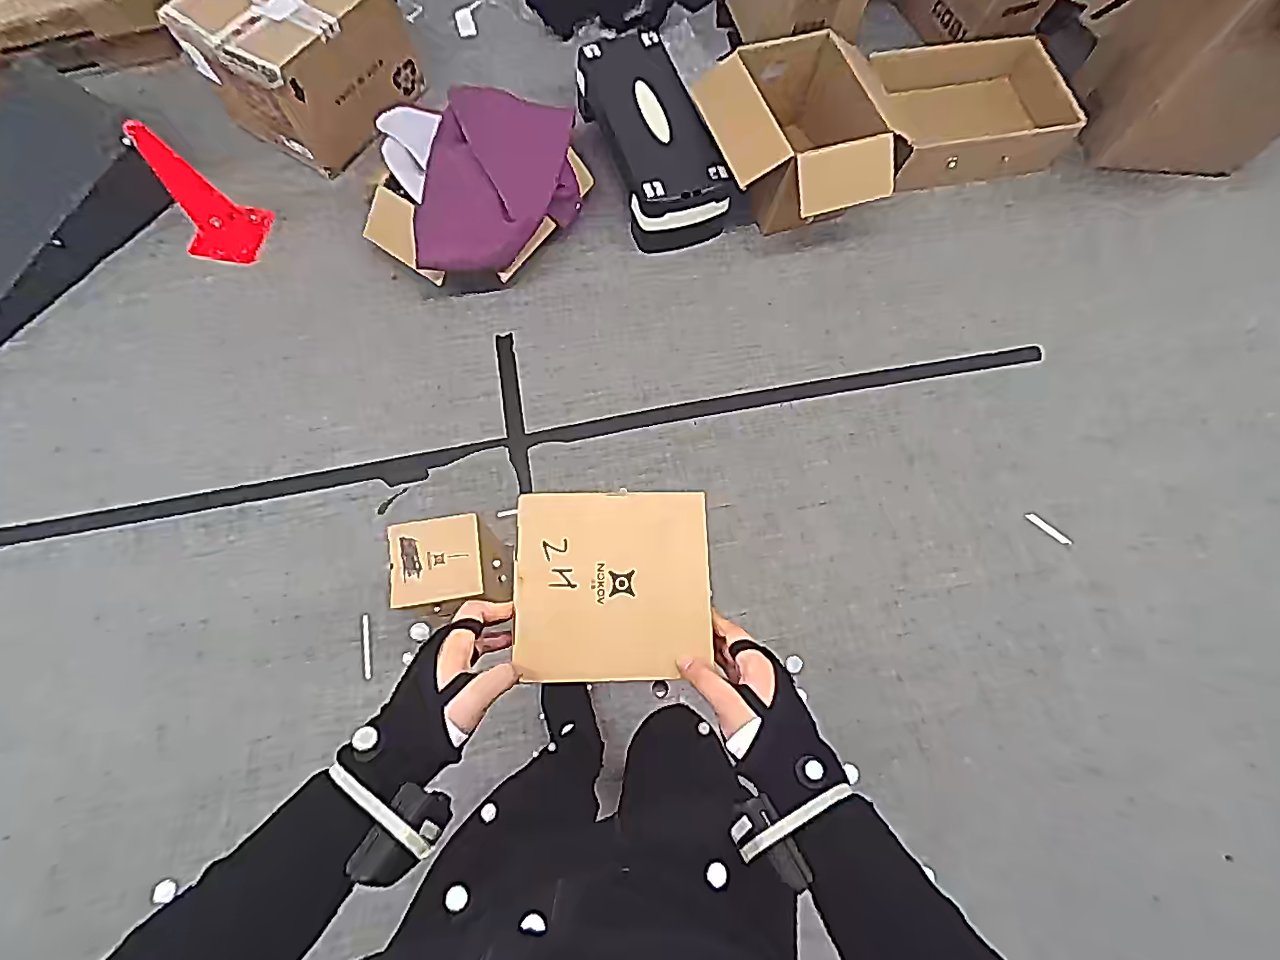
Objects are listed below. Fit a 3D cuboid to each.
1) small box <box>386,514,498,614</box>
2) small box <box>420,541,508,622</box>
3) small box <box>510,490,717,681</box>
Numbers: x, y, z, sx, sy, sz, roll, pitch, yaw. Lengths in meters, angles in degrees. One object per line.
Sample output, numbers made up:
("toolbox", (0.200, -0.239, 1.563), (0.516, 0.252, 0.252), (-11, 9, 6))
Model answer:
("small box", (-0.404, 0.179, 1.121), (0.179, 0.176, 0.168), (-8, 73, -6))
("small box", (-0.413, 0.235, 1.277), (0.168, 0.176, 0.179), (-8, 74, -5))
("small box", (-0.025, 0.110, 0.550), (0.179, 0.176, 0.168), (0, 74, -2))
